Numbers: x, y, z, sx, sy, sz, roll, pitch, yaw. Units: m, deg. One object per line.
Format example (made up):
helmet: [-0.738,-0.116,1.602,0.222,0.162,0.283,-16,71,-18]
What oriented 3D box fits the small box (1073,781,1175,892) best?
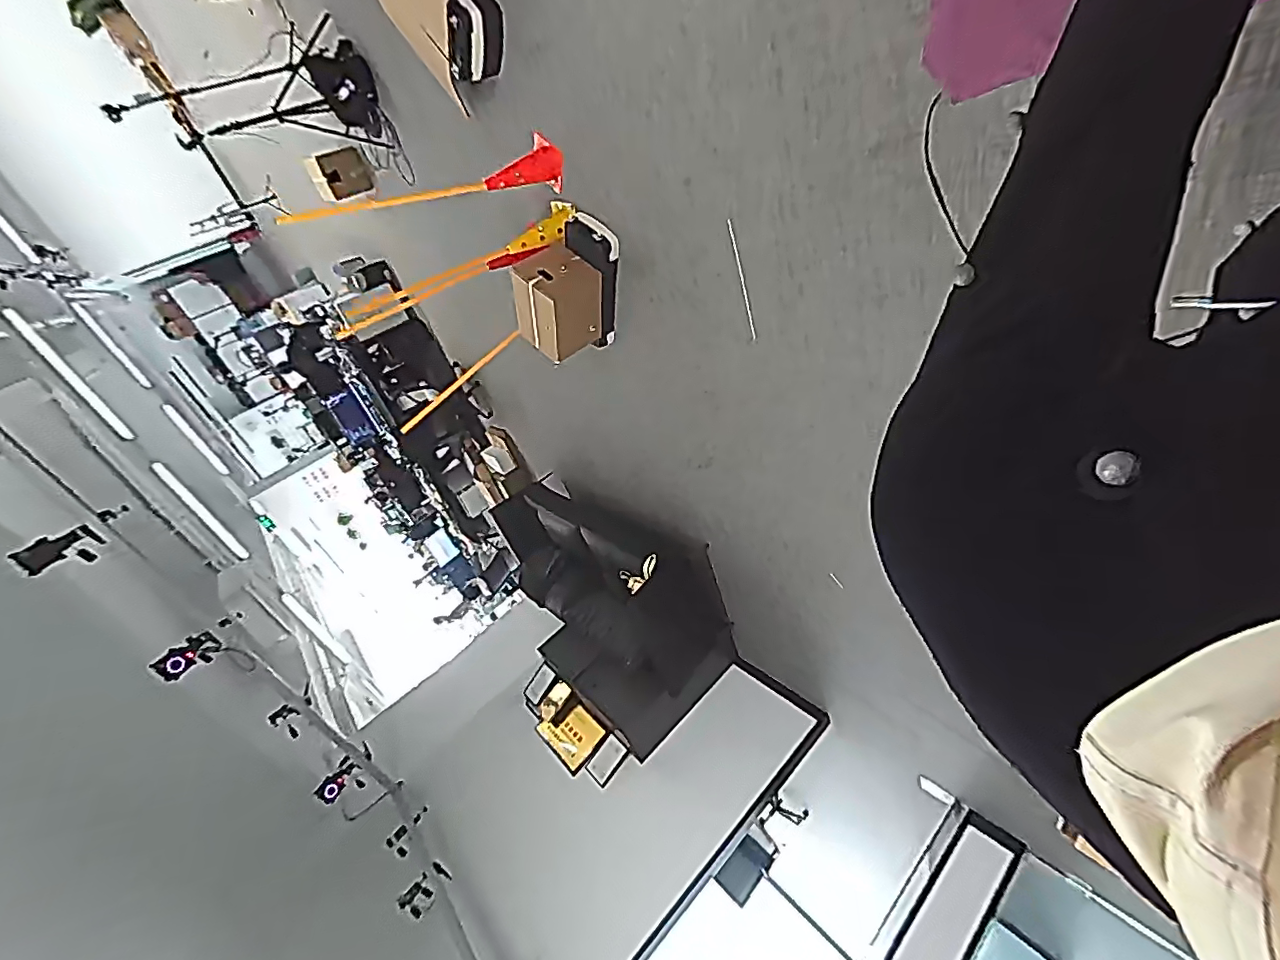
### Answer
small box: [1.385,1.016,1.549,0.168,0.176,0.179,25,143,46]
